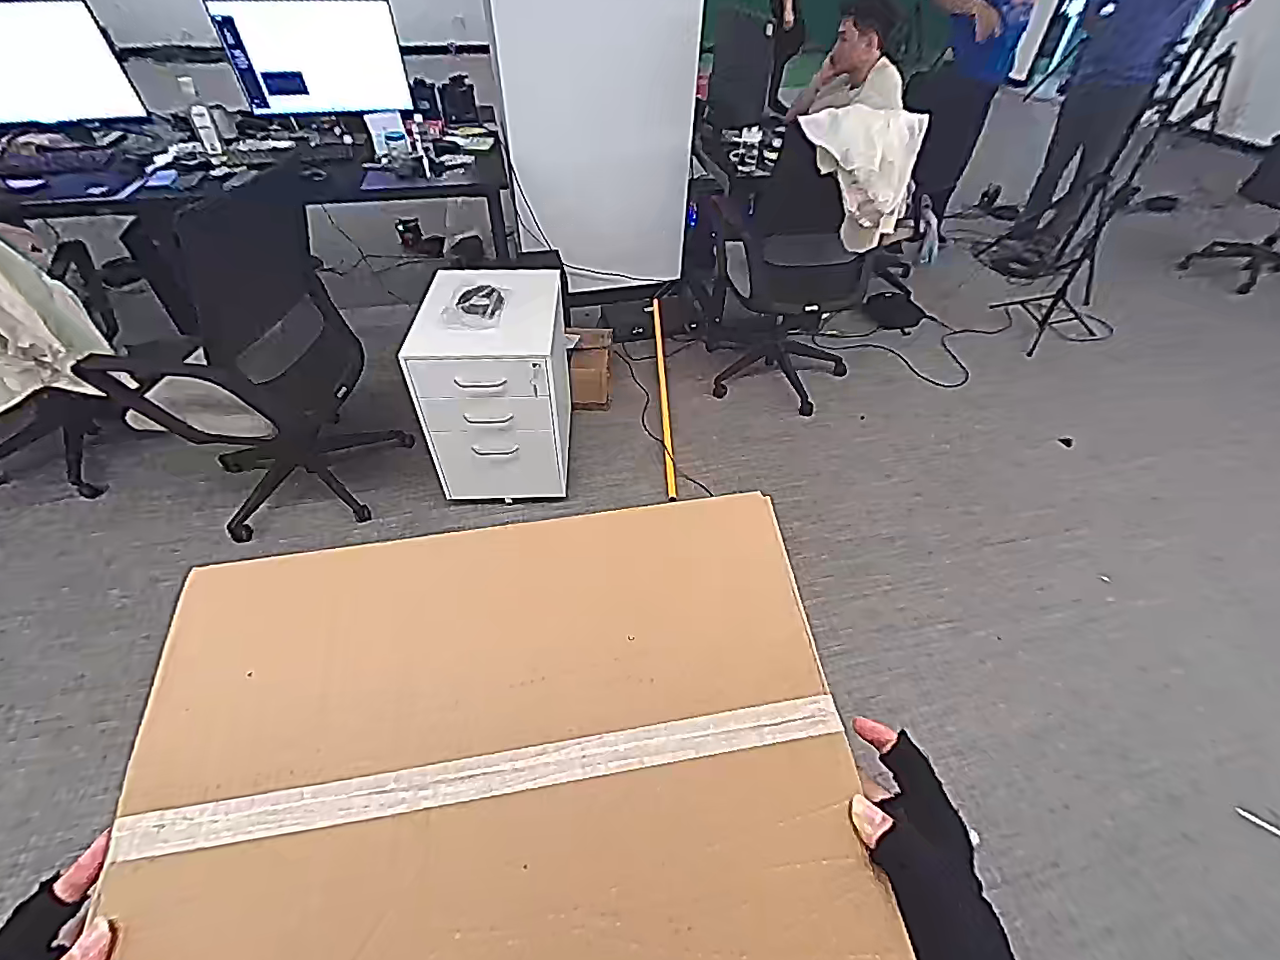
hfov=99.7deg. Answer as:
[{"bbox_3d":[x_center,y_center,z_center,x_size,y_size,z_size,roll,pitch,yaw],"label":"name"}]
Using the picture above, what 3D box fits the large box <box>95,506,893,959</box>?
[{"bbox_3d":[-0.084,0.251,0.443,0.408,0.320,0.320,-7,59,-4],"label":"large box"}]
